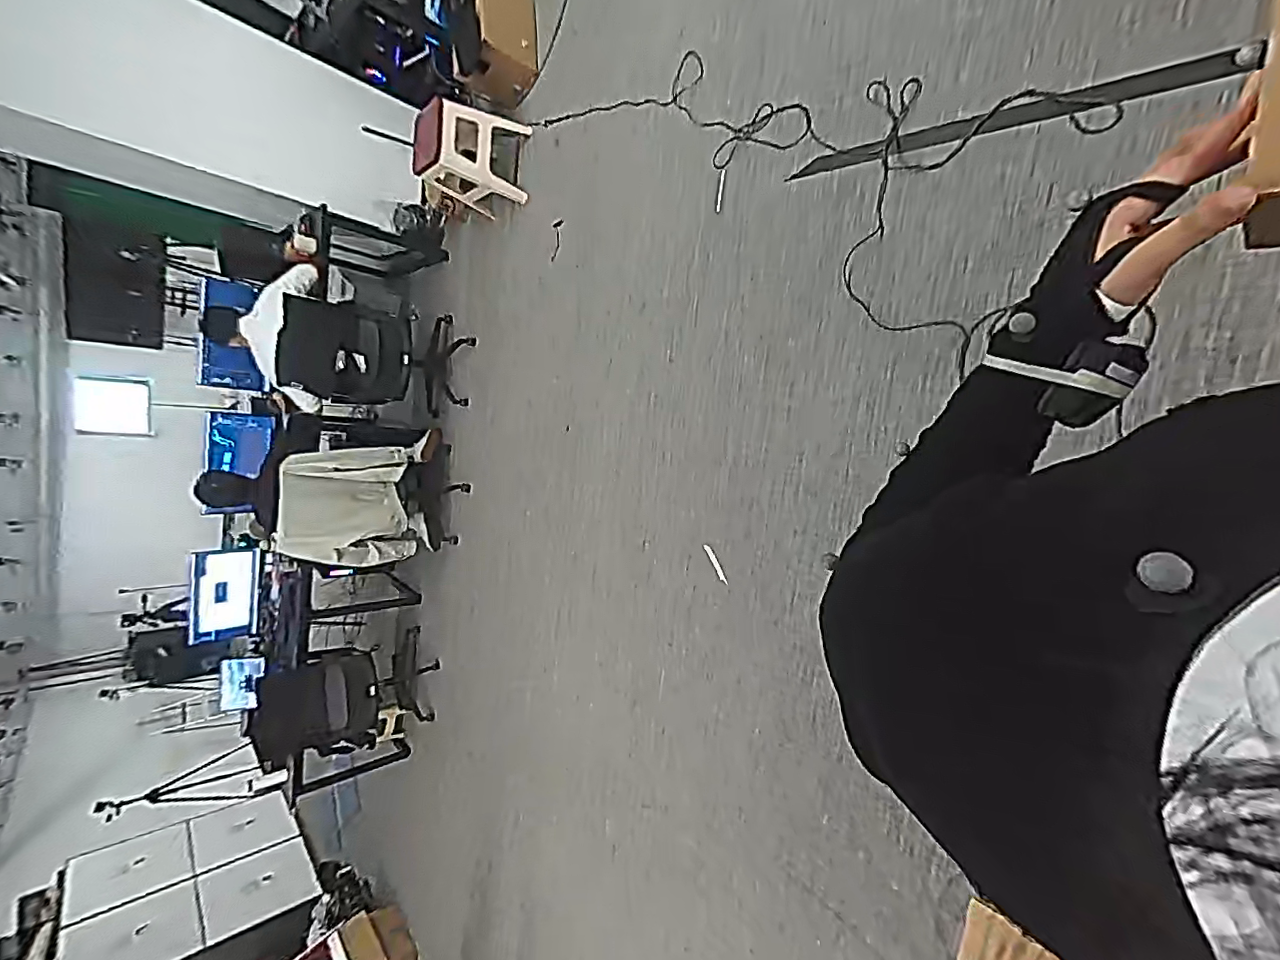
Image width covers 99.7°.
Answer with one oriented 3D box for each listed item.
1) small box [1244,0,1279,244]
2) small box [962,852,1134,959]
[{"bbox_3d":[0.443,-0.236,0.272,0.168,0.176,0.179,11,104,49],"label":"small box"},{"bbox_3d":[0.588,0.696,0.785,0.168,0.176,0.179,14,98,48],"label":"small box"}]
